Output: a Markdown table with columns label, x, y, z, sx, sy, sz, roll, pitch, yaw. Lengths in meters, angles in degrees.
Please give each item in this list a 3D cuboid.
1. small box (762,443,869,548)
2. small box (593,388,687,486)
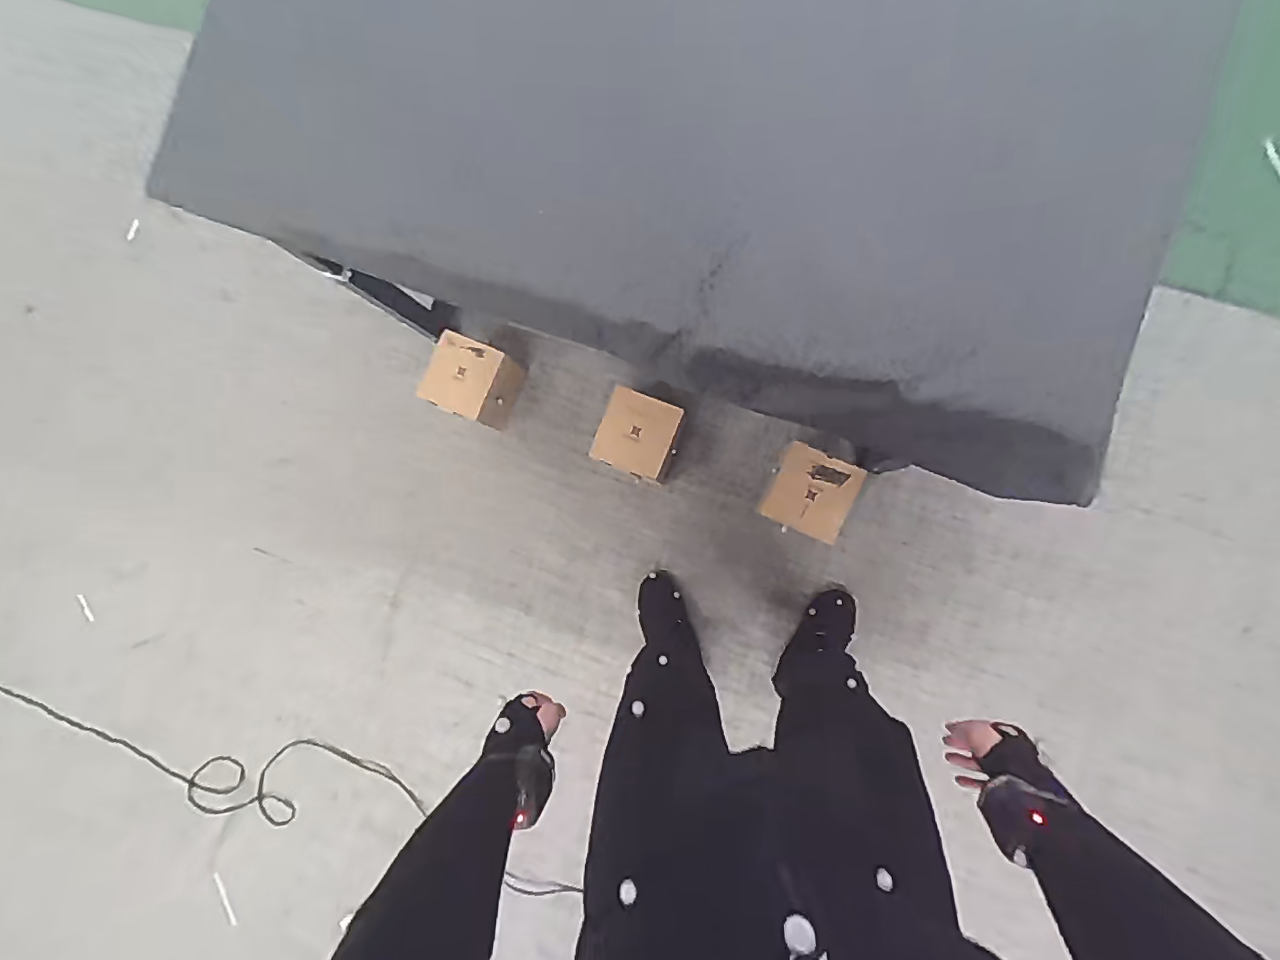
| label | x | y | z | sx | sy | sz | roll | pitch | yaw |
| --- | --- | --- | --- | --- | --- | --- | --- | --- | --- |
| small box | 0.383 | 0.036 | 1.217 | 0.168 | 0.176 | 0.179 | 25 | 91 | 9 |
| small box | 0.008 | -0.093 | 1.285 | 0.168 | 0.176 | 0.179 | 21 | 88 | 8 |
